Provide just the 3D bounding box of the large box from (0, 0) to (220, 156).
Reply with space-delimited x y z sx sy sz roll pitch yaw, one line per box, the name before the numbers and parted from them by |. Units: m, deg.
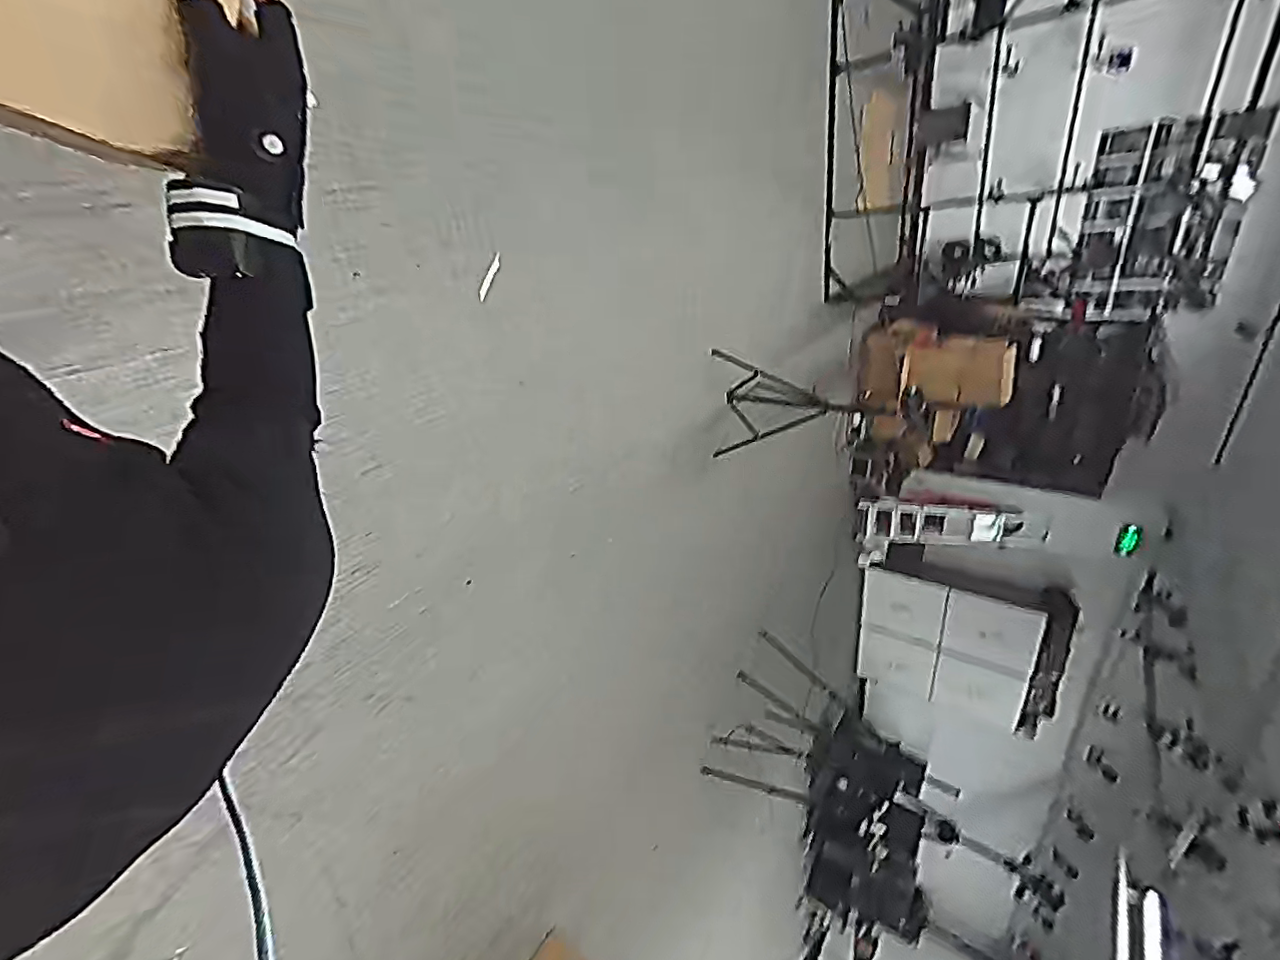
large box | -0.539 -0.445 0.319 0.408 0.320 0.320 -3 114 -55
